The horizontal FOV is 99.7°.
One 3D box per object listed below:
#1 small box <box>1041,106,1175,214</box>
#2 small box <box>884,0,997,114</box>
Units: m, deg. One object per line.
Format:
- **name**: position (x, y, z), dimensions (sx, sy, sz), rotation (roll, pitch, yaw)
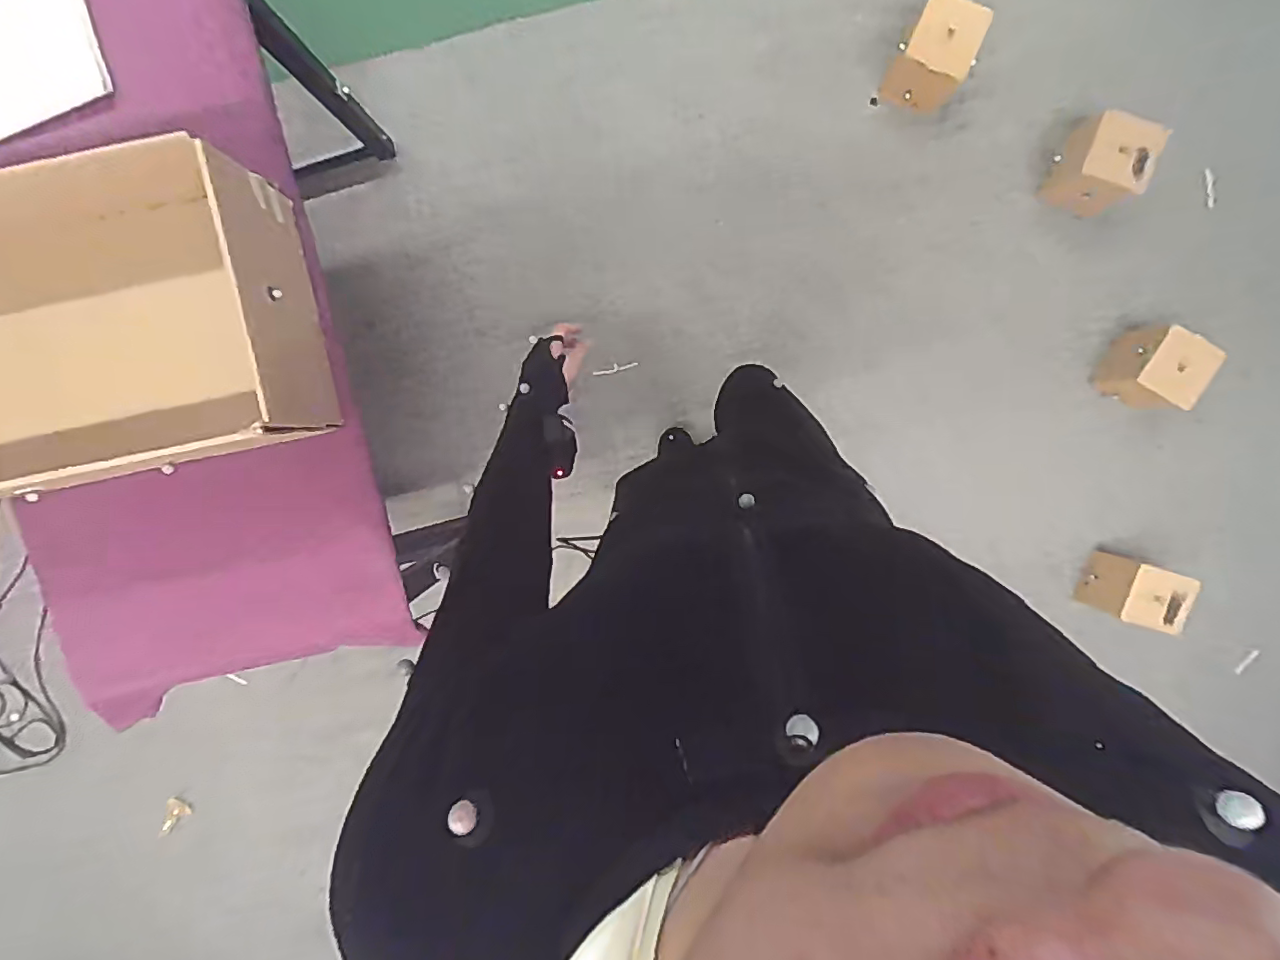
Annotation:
- **small box**: position (1.226, -0.834, 1.431), dimensions (0.179, 0.176, 0.168), rotation (20, 96, 0)
- **small box**: position (0.774, -1.114, 1.414), dimensions (0.168, 0.176, 0.179), rotation (23, 97, -1)
